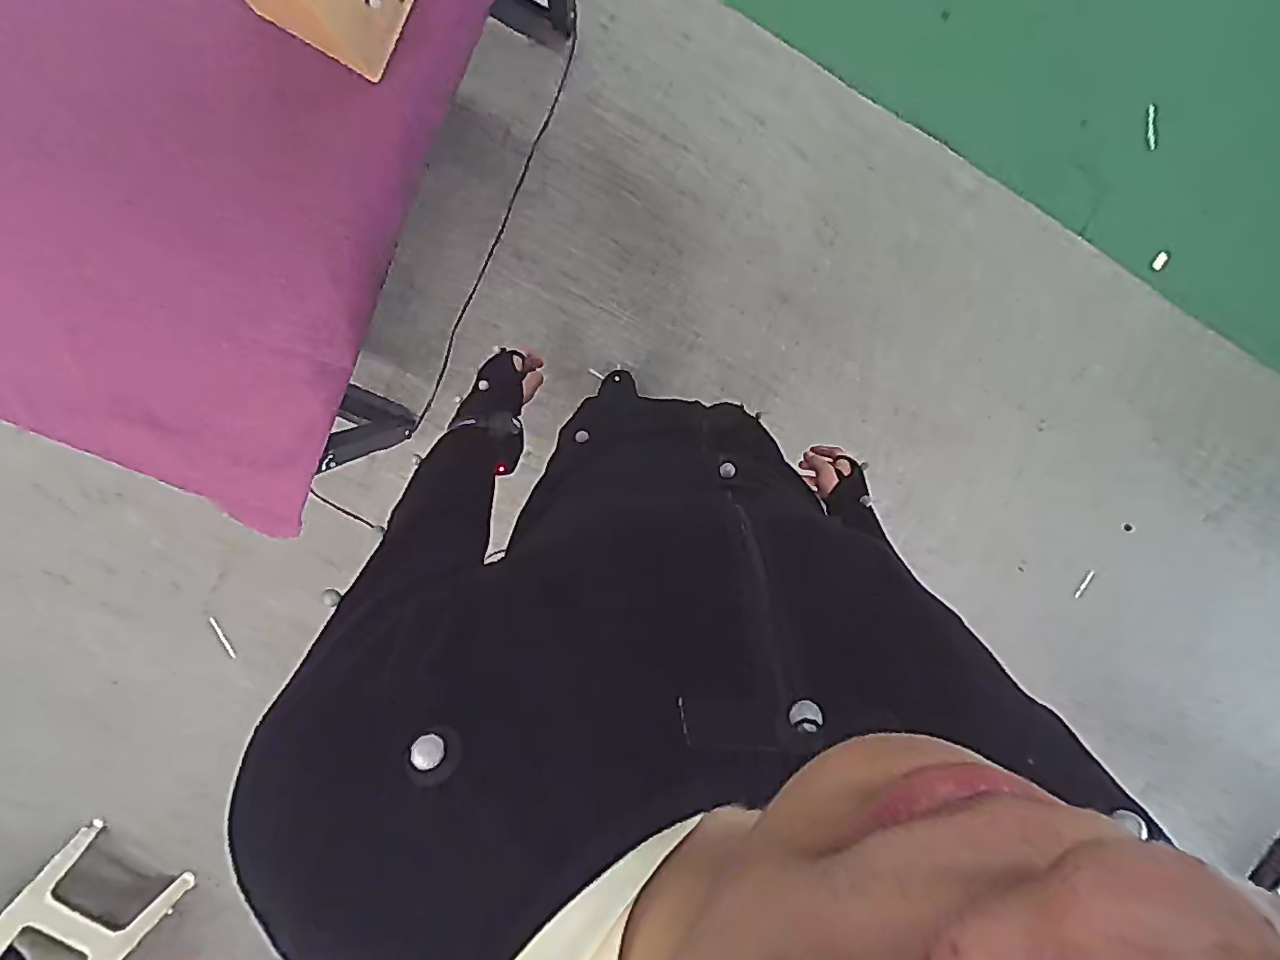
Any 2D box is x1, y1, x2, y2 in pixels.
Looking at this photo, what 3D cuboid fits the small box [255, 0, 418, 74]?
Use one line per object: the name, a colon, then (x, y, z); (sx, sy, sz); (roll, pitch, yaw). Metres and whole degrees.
small box: (-0.382, -0.636, 0.643); (0.179, 0.176, 0.168); (28, 98, -8)
